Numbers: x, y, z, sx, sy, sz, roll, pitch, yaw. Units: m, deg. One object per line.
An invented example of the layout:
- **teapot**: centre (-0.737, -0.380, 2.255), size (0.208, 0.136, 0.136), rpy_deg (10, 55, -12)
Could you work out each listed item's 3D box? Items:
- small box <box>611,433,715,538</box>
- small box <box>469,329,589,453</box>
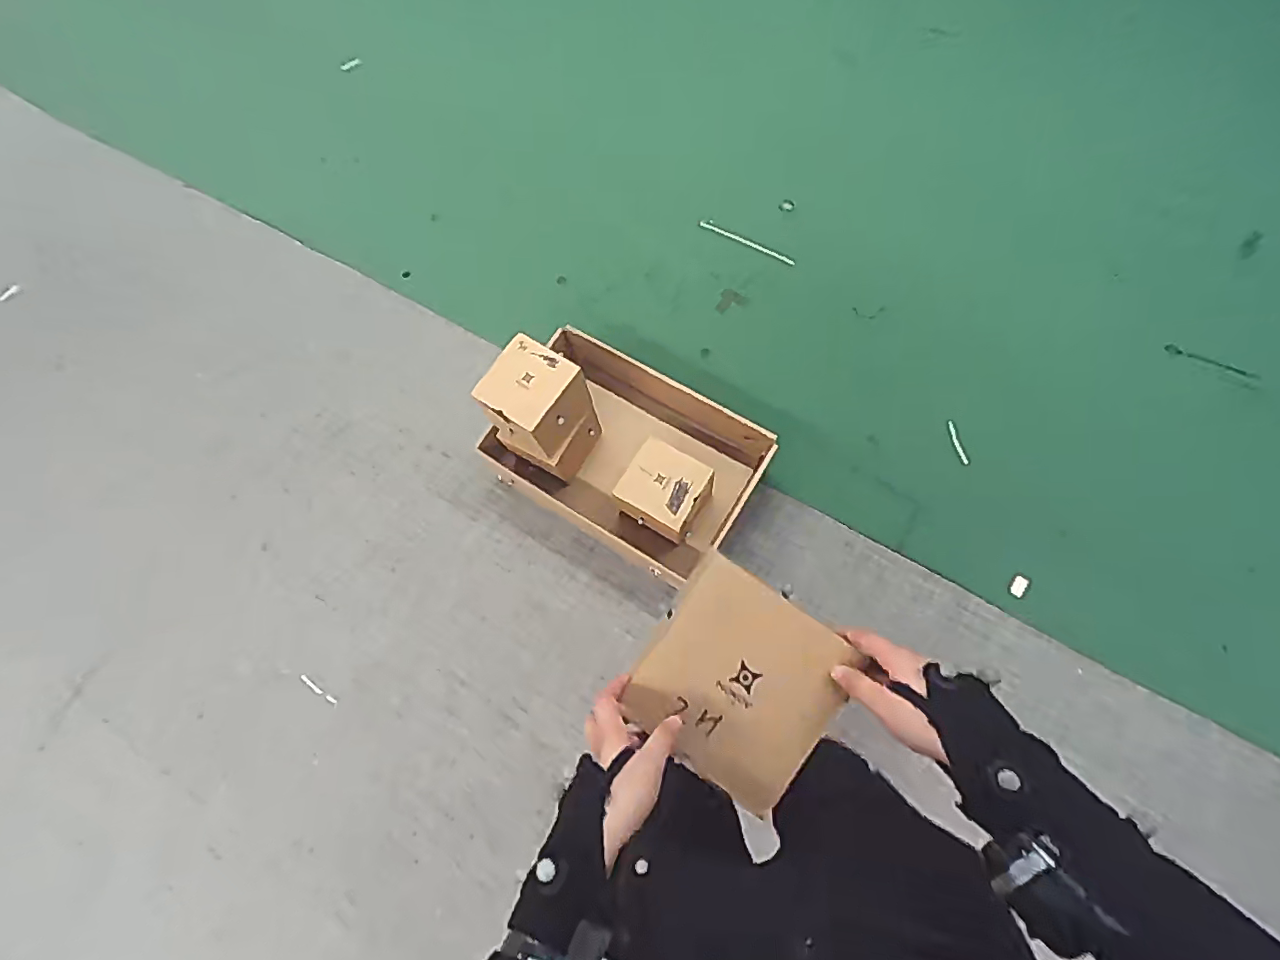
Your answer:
- **small box**: centre (0.058, 0.021, 1.262), size (0.179, 0.176, 0.168), rpy_deg (30, 78, 13)
- **small box**: centre (-0.229, -0.183, 1.172), size (0.168, 0.176, 0.179), rpy_deg (32, 80, 12)
